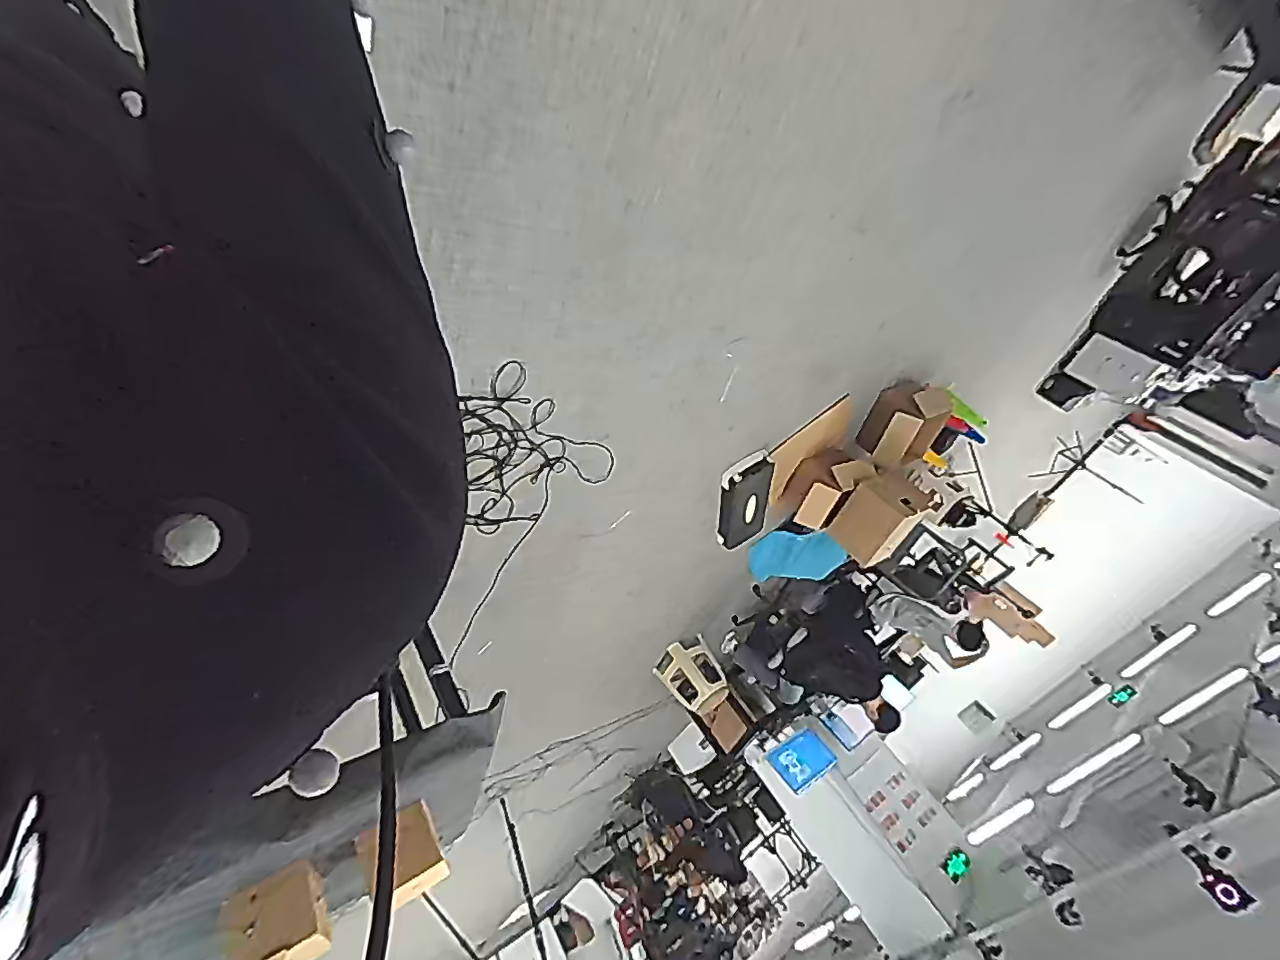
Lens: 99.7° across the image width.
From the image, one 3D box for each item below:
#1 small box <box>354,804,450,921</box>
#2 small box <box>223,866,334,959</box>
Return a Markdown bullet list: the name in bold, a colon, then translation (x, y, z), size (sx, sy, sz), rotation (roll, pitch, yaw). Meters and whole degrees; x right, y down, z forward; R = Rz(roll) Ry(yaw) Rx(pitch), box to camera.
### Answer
- **small box**: translation (-0.613, 0.982, 1.399), size (0.179, 0.176, 0.168), rotation (-20, 141, -29)
- **small box**: translation (-0.827, 1.029, 1.238), size (0.168, 0.176, 0.179), rotation (-18, 141, -30)
